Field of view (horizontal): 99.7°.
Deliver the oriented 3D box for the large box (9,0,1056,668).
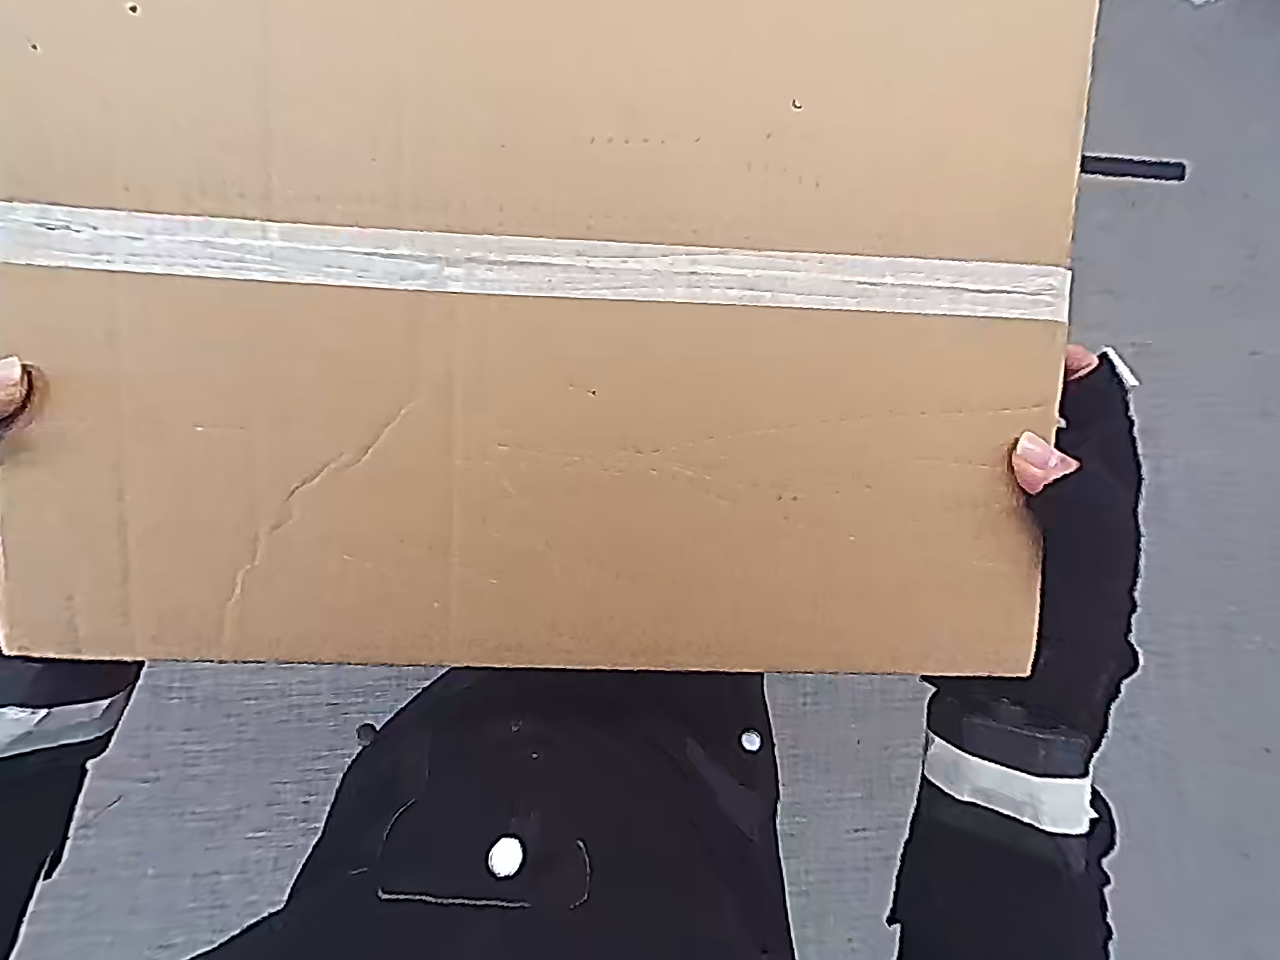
[{"bbox_3d":[-0.042,-0.087,0.366,0.408,0.320,0.320,2,94,-3],"label":"large box"}]
